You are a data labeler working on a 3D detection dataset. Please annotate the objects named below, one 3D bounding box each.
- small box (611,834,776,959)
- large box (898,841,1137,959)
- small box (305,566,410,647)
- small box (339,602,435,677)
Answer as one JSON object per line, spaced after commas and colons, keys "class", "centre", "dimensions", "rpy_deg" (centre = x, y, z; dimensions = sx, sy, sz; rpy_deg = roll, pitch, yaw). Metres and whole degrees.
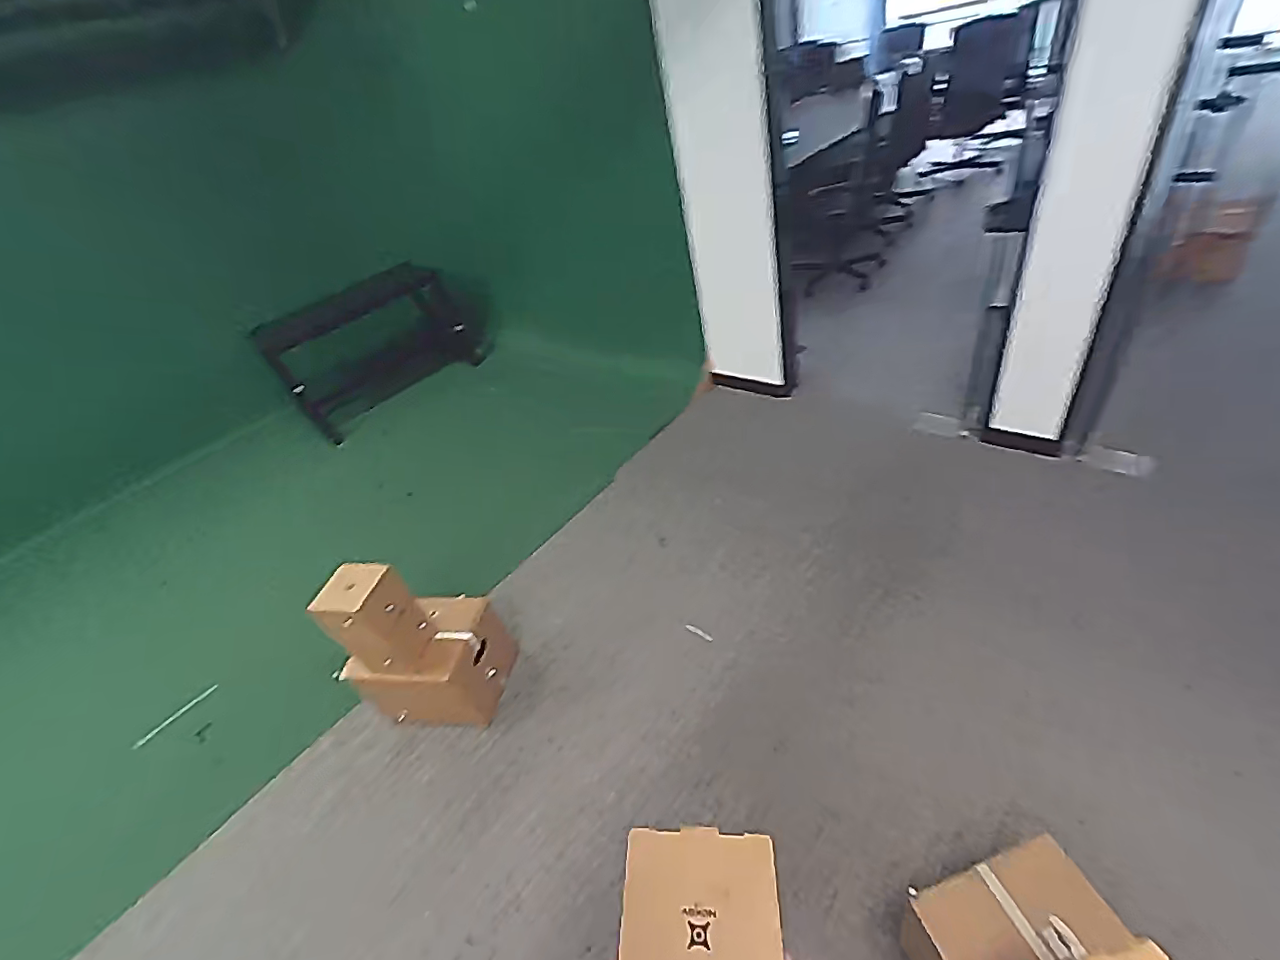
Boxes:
{"class": "small box", "centre": [0.061, 0.525, 0.597], "dimensions": [0.168, 0.176, 0.179], "rpy_deg": [-3, 38, 7]}
{"class": "large box", "centre": [0.732, 0.971, 0.966], "dimensions": [0.320, 0.320, 0.408], "rpy_deg": [-20, 37, -6]}
{"class": "small box", "centre": [-0.809, 0.369, 1.571], "dimensions": [0.179, 0.176, 0.168], "rpy_deg": [-2, 40, 17]}
{"class": "small box", "centre": [-0.772, 0.492, 1.674], "dimensions": [0.179, 0.176, 0.168], "rpy_deg": [-4, 40, 16]}
